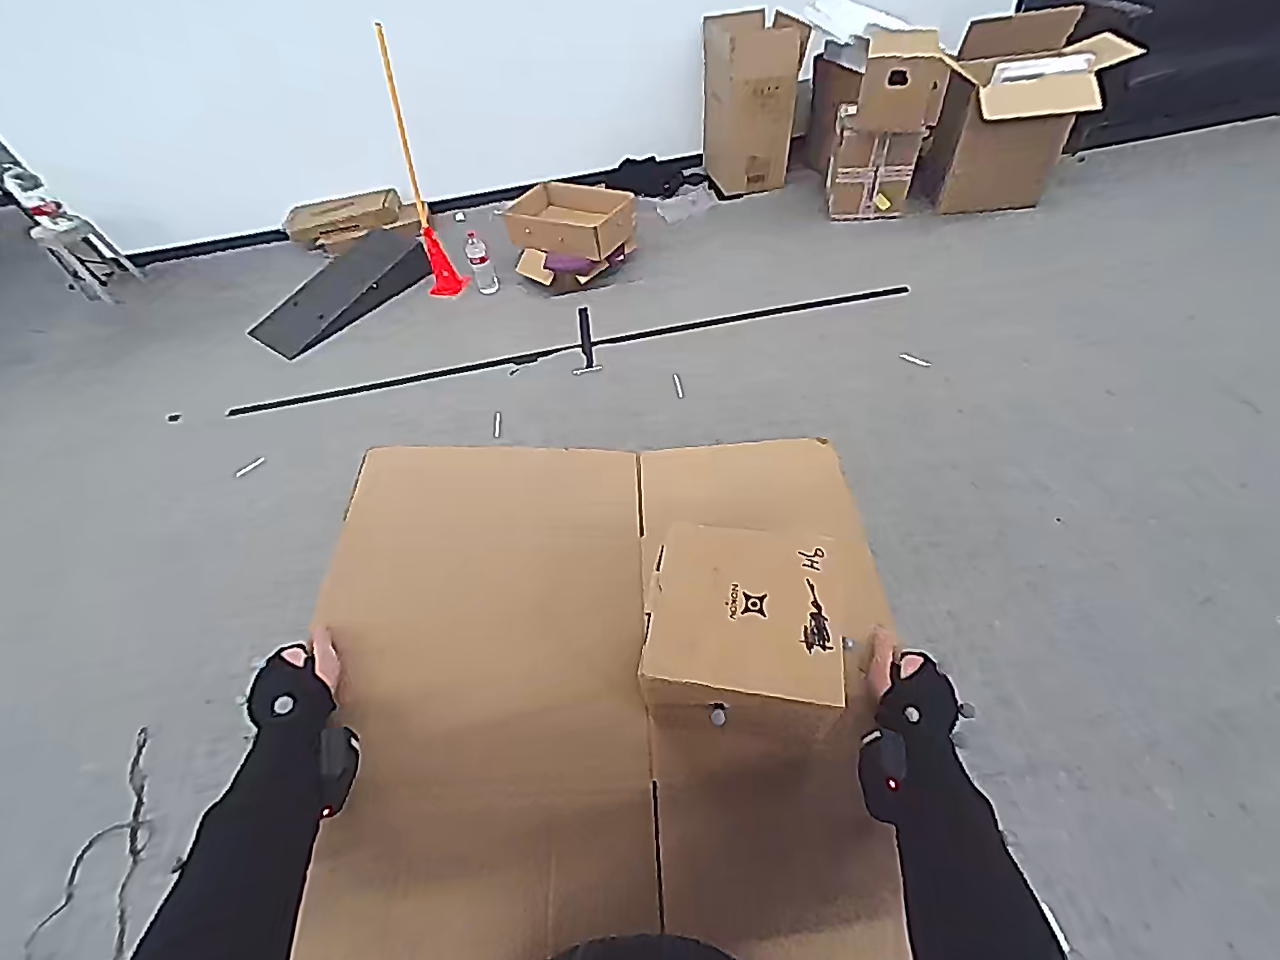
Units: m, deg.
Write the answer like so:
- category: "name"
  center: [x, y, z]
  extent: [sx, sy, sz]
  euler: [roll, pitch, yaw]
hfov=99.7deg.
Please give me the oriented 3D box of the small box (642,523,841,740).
- category: "small box"
  center: [0.109, 0.165, 0.580]
  extent: [0.179, 0.176, 0.168]
  euler: [5, 54, 11]
